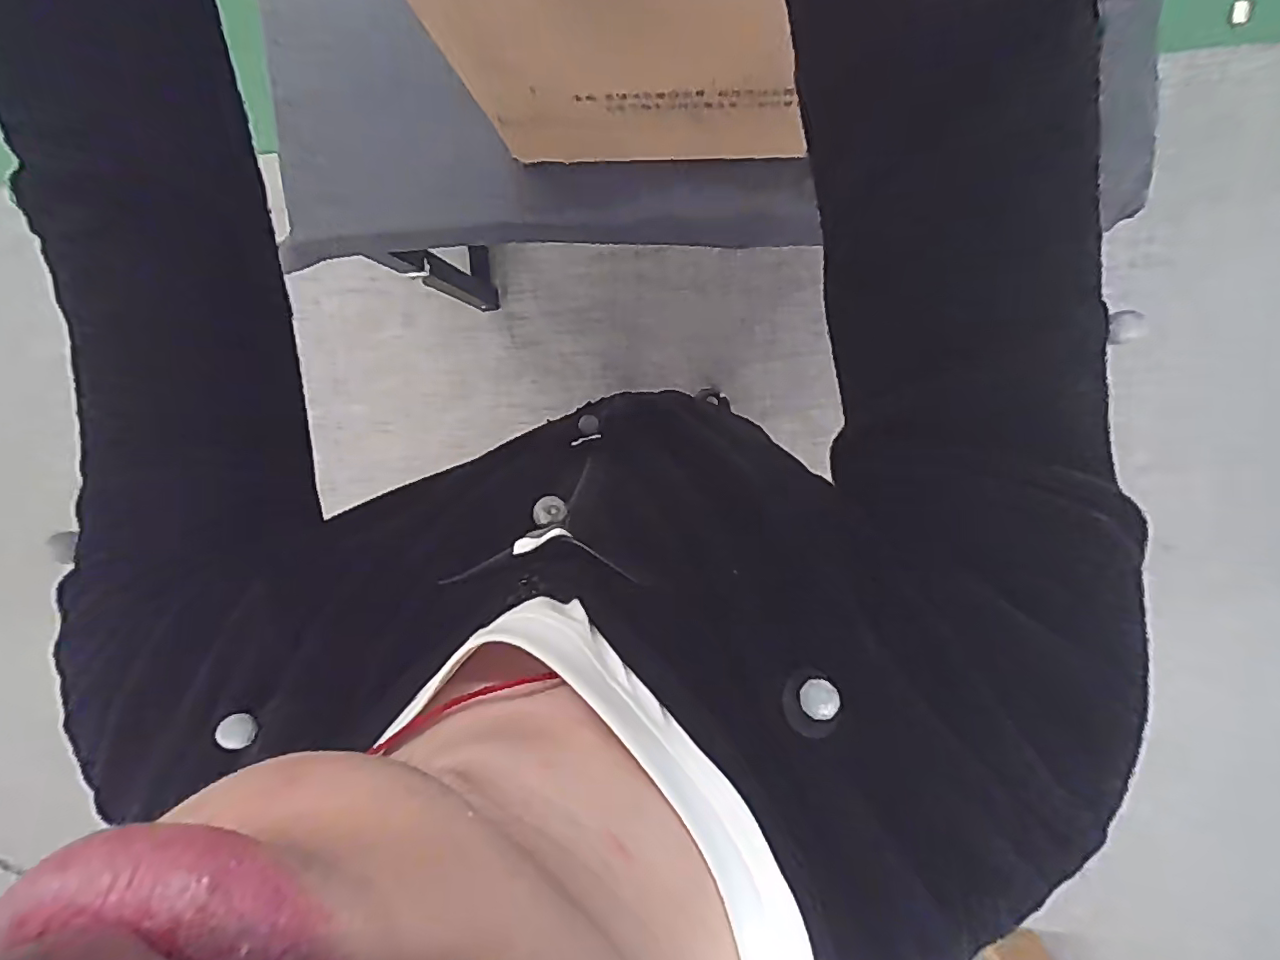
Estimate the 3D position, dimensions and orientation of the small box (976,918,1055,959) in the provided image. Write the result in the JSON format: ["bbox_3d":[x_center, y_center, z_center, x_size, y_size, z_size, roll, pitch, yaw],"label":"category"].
[{"bbox_3d":[1.121,1.450,1.595,0.168,0.176,0.179,-2,98,4],"label":"small box"}]
